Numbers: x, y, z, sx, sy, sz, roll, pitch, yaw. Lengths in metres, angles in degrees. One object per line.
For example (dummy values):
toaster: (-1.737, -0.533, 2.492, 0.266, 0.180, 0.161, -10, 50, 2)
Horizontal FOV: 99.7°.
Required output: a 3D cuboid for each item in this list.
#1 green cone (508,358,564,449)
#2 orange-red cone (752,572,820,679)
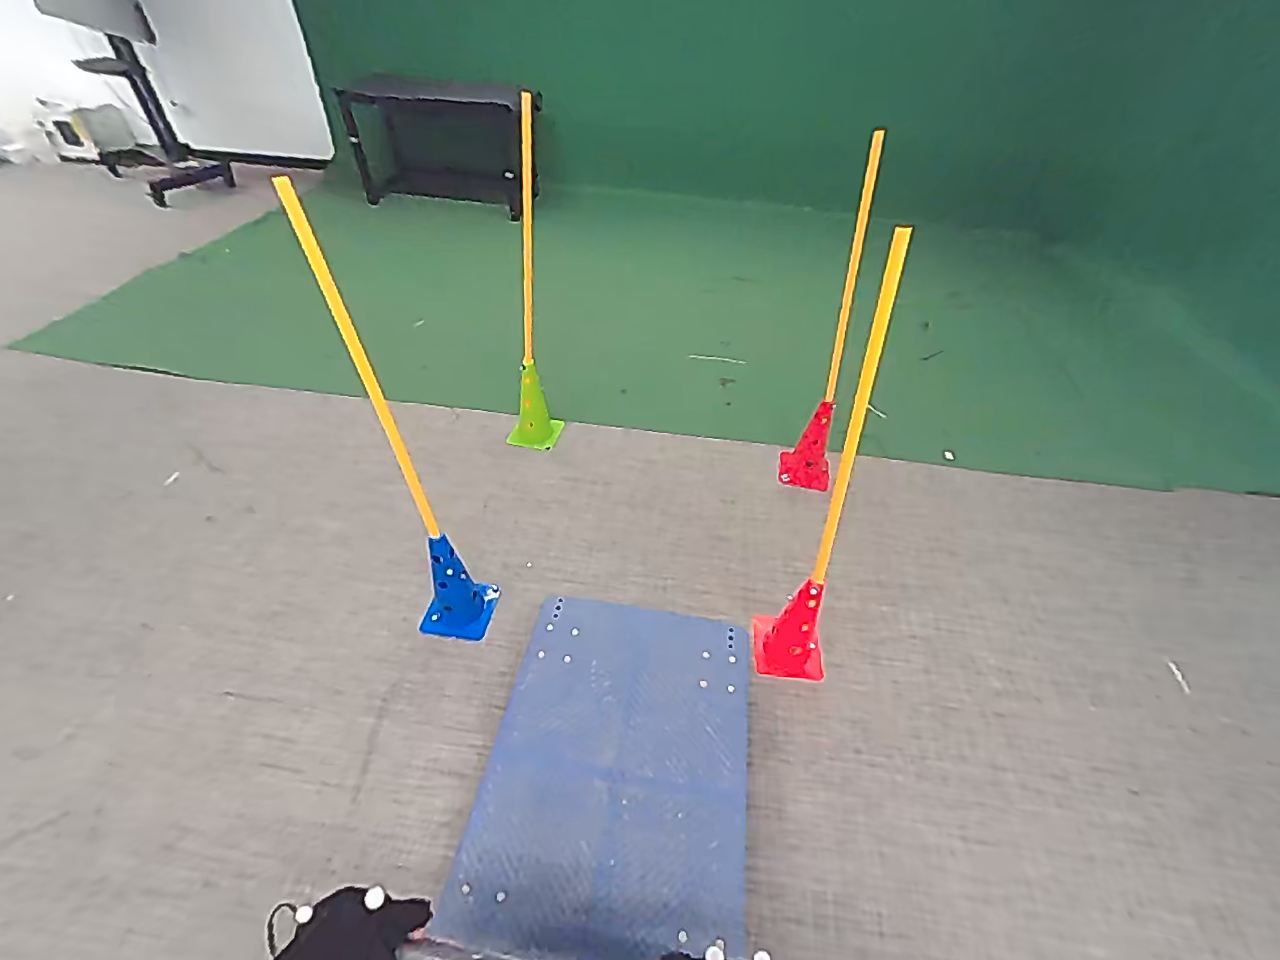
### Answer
green cone: (-0.440, -0.331, 2.203, 0.202, 0.368, 0.200, 10, 44, 7)
orange-red cone: (0.446, 0.384, 1.535, 0.199, 0.360, 0.198, 6, 43, 4)
